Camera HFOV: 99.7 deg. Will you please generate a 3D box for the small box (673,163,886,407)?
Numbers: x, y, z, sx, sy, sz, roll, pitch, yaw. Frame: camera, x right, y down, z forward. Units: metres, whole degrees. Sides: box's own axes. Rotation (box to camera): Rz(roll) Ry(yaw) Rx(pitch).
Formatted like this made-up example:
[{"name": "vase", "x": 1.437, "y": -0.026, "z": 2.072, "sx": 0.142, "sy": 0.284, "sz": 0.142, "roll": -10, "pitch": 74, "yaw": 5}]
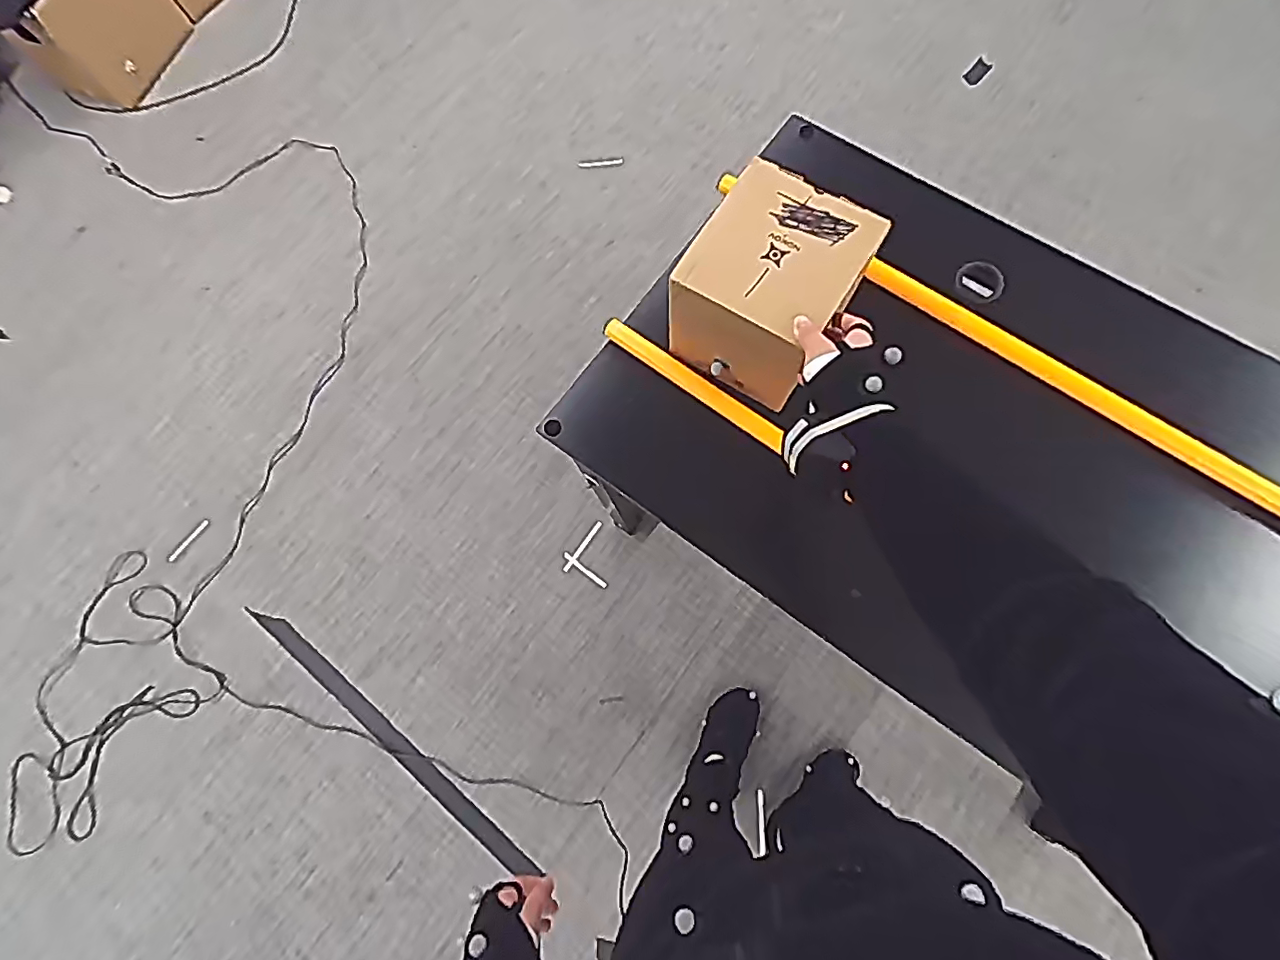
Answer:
[{"name": "small box", "x": 0.149, "y": -0.219, "z": 0.642, "sx": 0.168, "sy": 0.176, "sz": 0.179, "roll": 32, "pitch": 81, "yaw": 11}]
